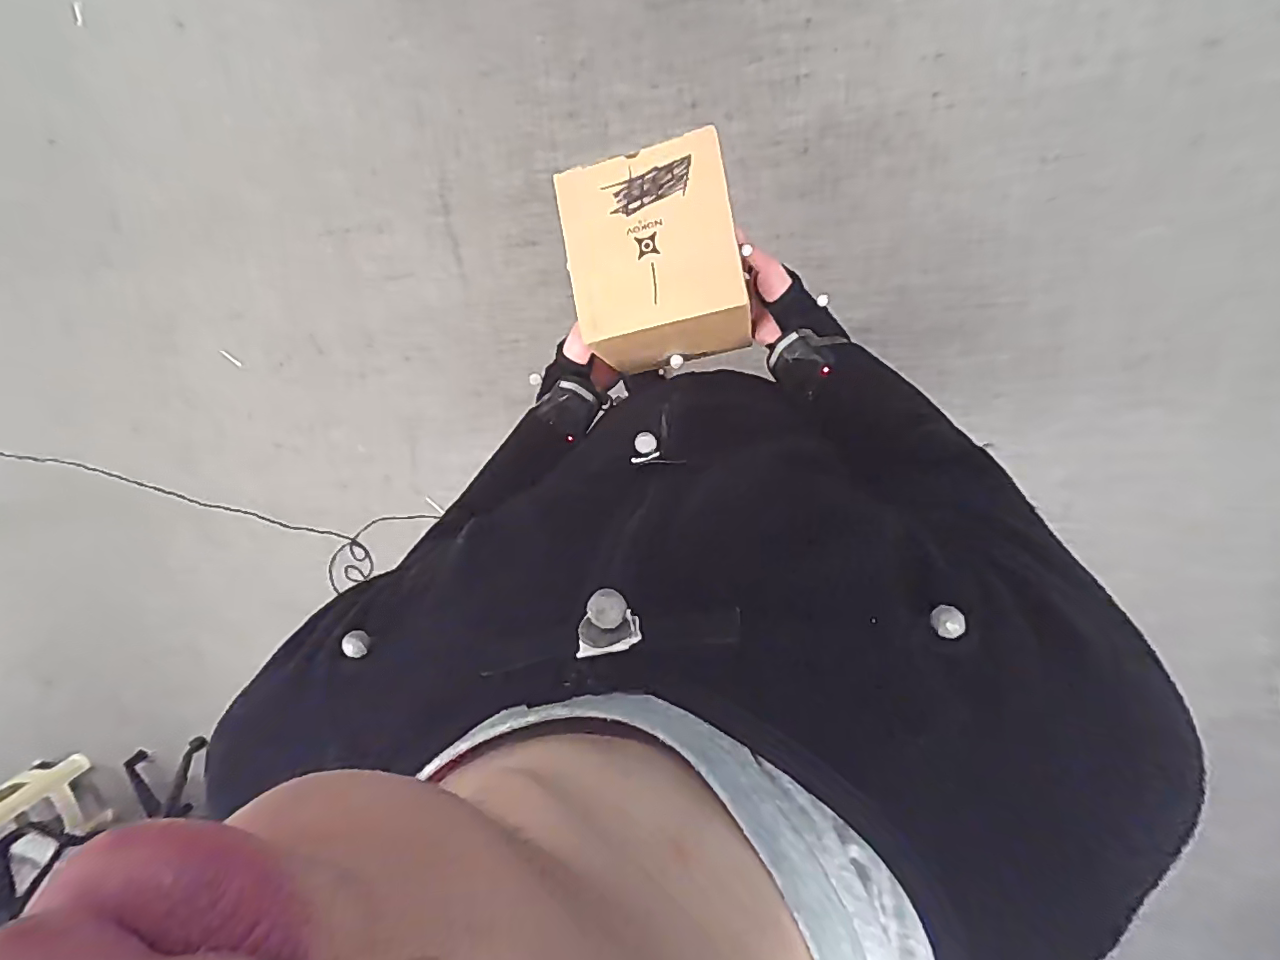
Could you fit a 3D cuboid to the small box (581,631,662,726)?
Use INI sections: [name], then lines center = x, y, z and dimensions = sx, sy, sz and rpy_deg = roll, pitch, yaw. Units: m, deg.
[small box]
center = -0.047, 0.597, 1.652
dimensions = 0.168, 0.176, 0.179
rpy_deg = 40, 108, 2
